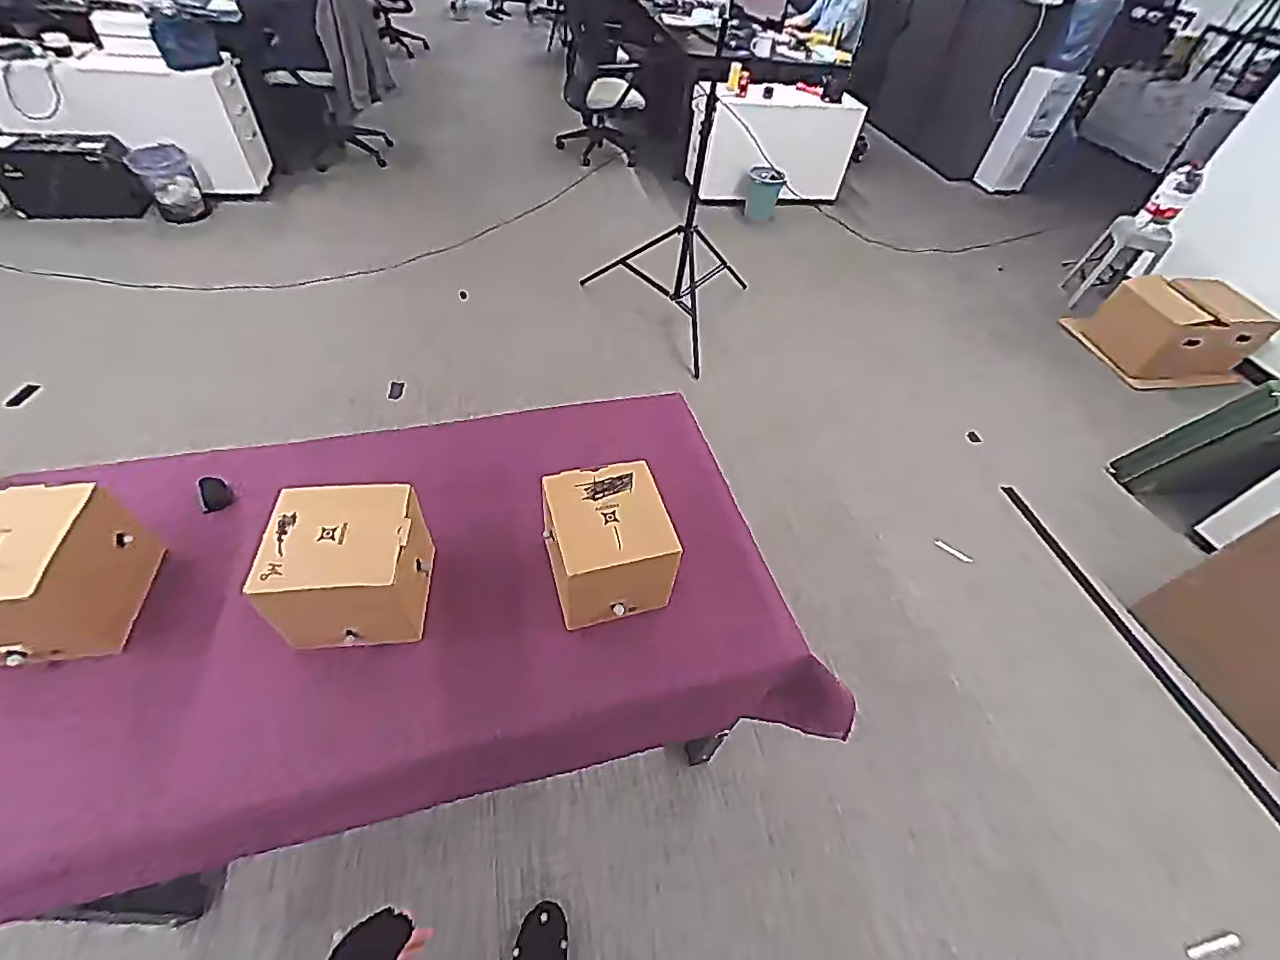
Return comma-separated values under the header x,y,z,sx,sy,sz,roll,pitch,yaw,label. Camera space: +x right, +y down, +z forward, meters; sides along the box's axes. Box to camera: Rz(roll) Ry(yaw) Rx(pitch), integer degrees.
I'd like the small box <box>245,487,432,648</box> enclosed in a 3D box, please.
x,y,z,sx,sy,sz,roll,pitch,yaw,label
-0.406,0.126,0.770,0.179,0.176,0.168,-1,49,-9,small box

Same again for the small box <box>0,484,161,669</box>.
x,y,z,sx,sy,sz,roll,pitch,yaw,label
-0.795,0.128,0.718,0.168,0.176,0.179,-5,51,-11,small box

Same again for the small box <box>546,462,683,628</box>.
x,y,z,sx,sy,sz,roll,pitch,yaw,label
-0.050,0.100,0.837,0.168,0.176,0.179,-10,52,-15,small box
